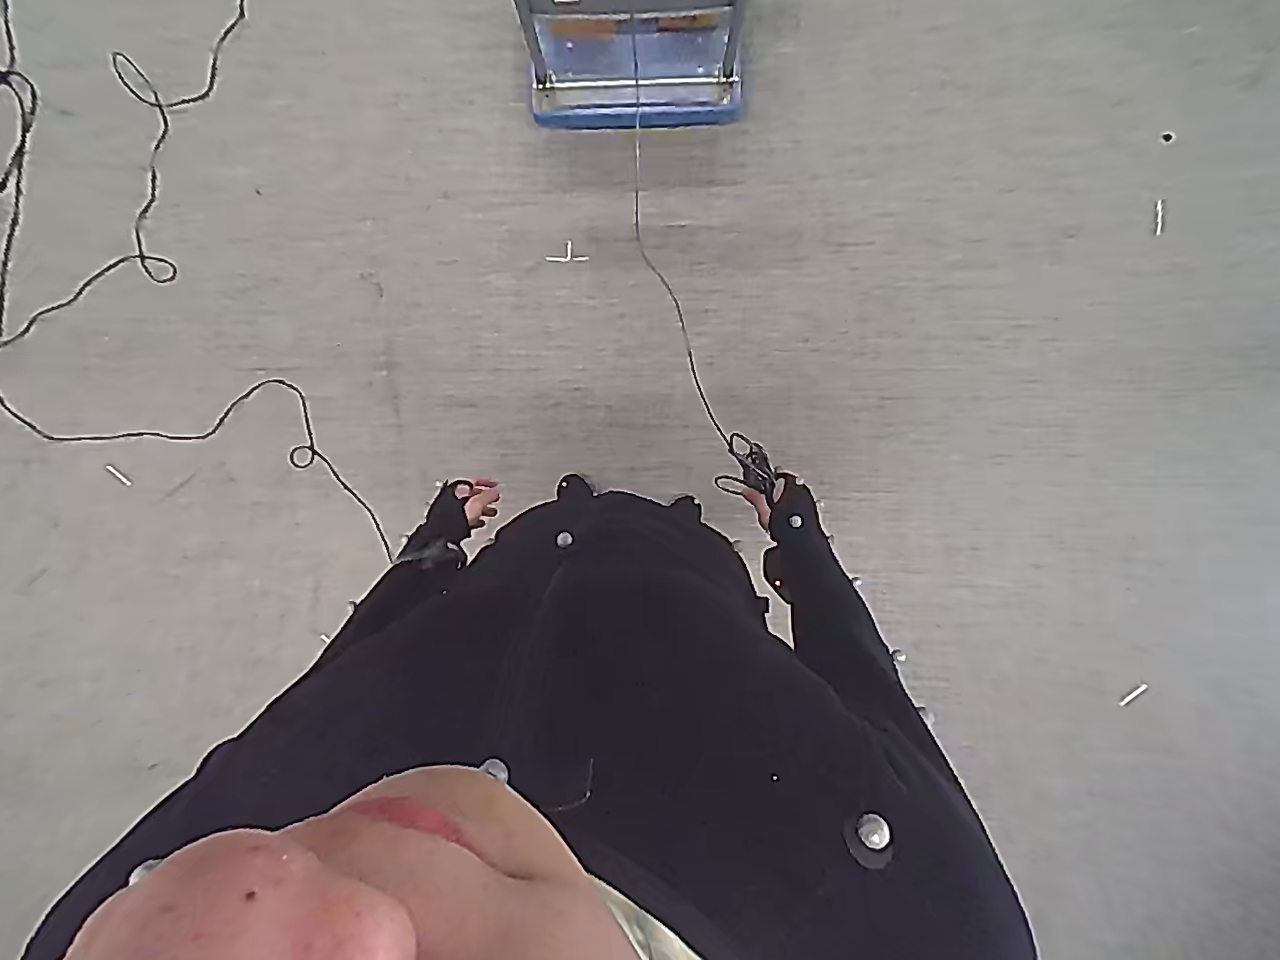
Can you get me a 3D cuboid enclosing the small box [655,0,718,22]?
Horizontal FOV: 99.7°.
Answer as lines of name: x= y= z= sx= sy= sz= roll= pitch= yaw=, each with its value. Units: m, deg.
small box: x=0.120 y=-1.303 z=1.351 sx=0.168 sy=0.176 sz=0.179 roll=1 pitch=92 yaw=2
